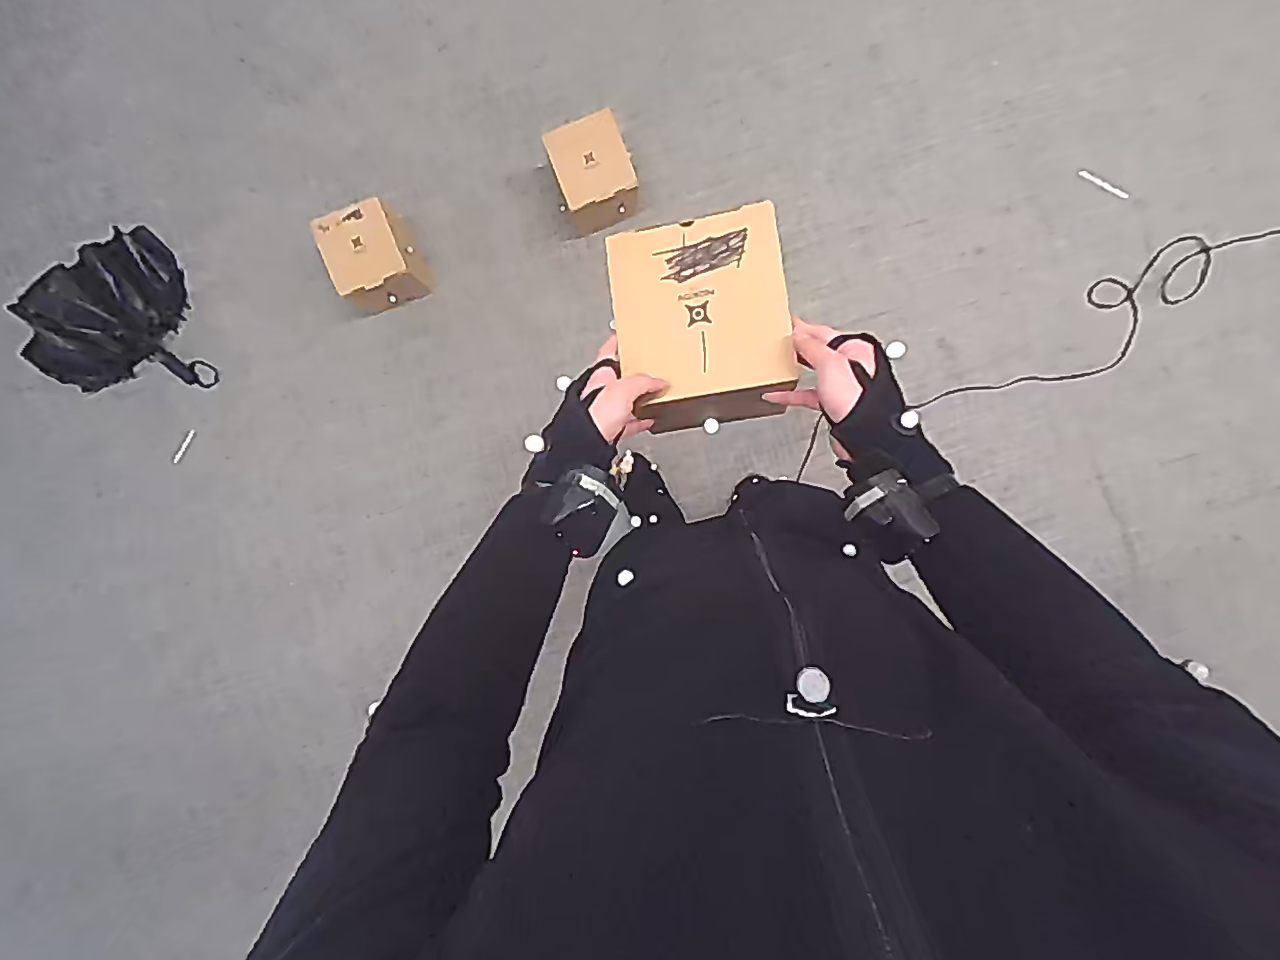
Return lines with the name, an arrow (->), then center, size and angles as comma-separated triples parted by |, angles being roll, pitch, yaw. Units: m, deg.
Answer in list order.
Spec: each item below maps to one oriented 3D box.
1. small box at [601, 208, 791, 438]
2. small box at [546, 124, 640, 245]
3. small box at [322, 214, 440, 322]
small box -> 0.064, -0.154, 0.590 | 0.168, 0.176, 0.179 | -8, 84, 11
small box -> -0.103, -0.685, 1.284 | 0.168, 0.176, 0.179 | -23, 91, 1
small box -> -0.611, -0.496, 1.299 | 0.168, 0.176, 0.179 | -21, 93, 1
